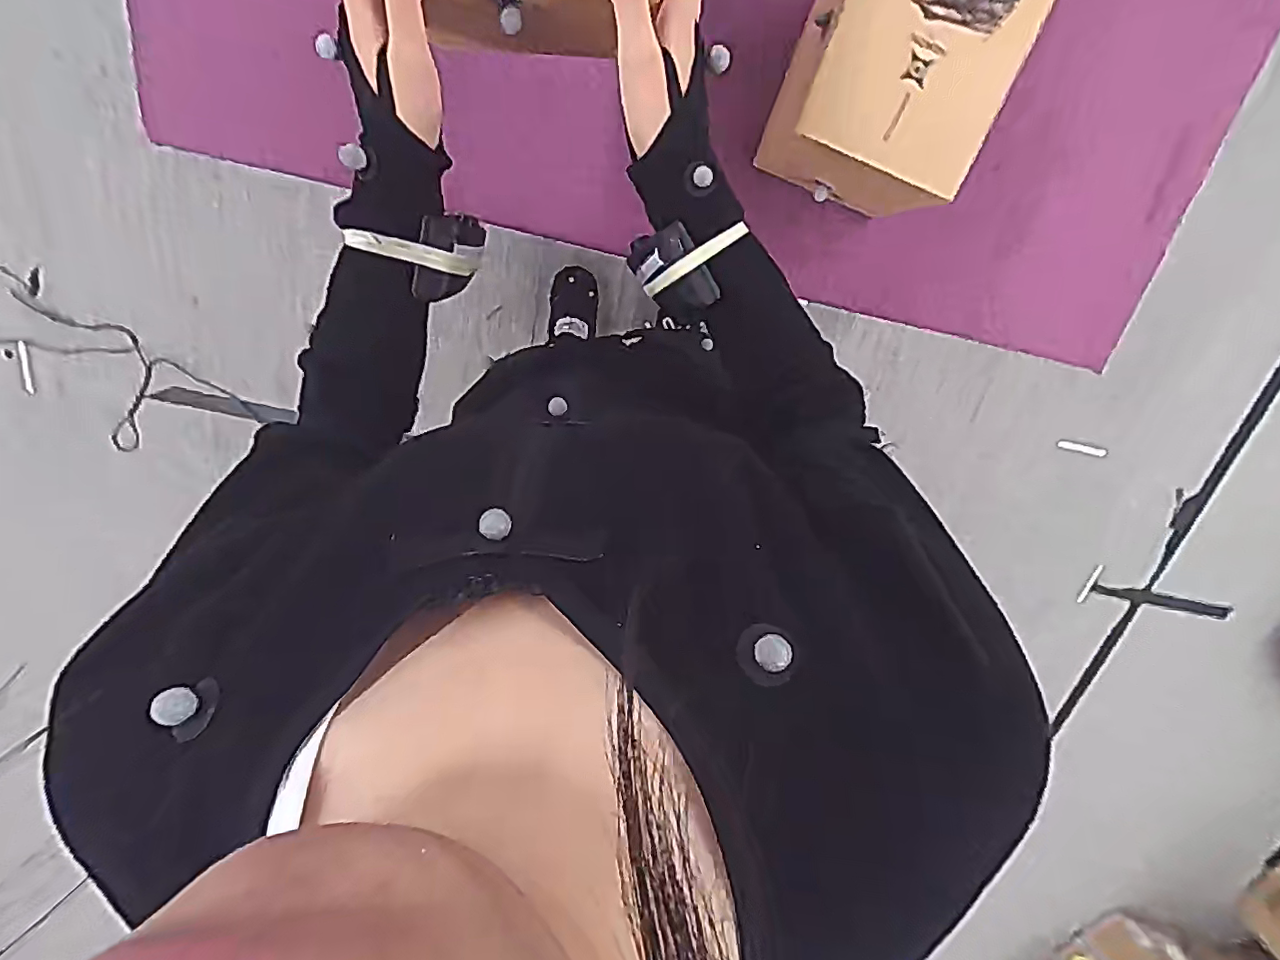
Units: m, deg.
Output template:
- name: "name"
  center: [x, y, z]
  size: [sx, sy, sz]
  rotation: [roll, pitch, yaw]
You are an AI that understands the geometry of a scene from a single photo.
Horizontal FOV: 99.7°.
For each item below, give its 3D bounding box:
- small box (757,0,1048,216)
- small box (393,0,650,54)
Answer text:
- name: "small box"
  center: [0.236, -0.389, 0.542]
  size: [0.168, 0.176, 0.179]
  rotation: [19, 110, -9]
- name: "small box"
  center: [-0.078, -0.396, 0.343]
  size: [0.179, 0.176, 0.168]
  rotation: [2, 116, -4]
